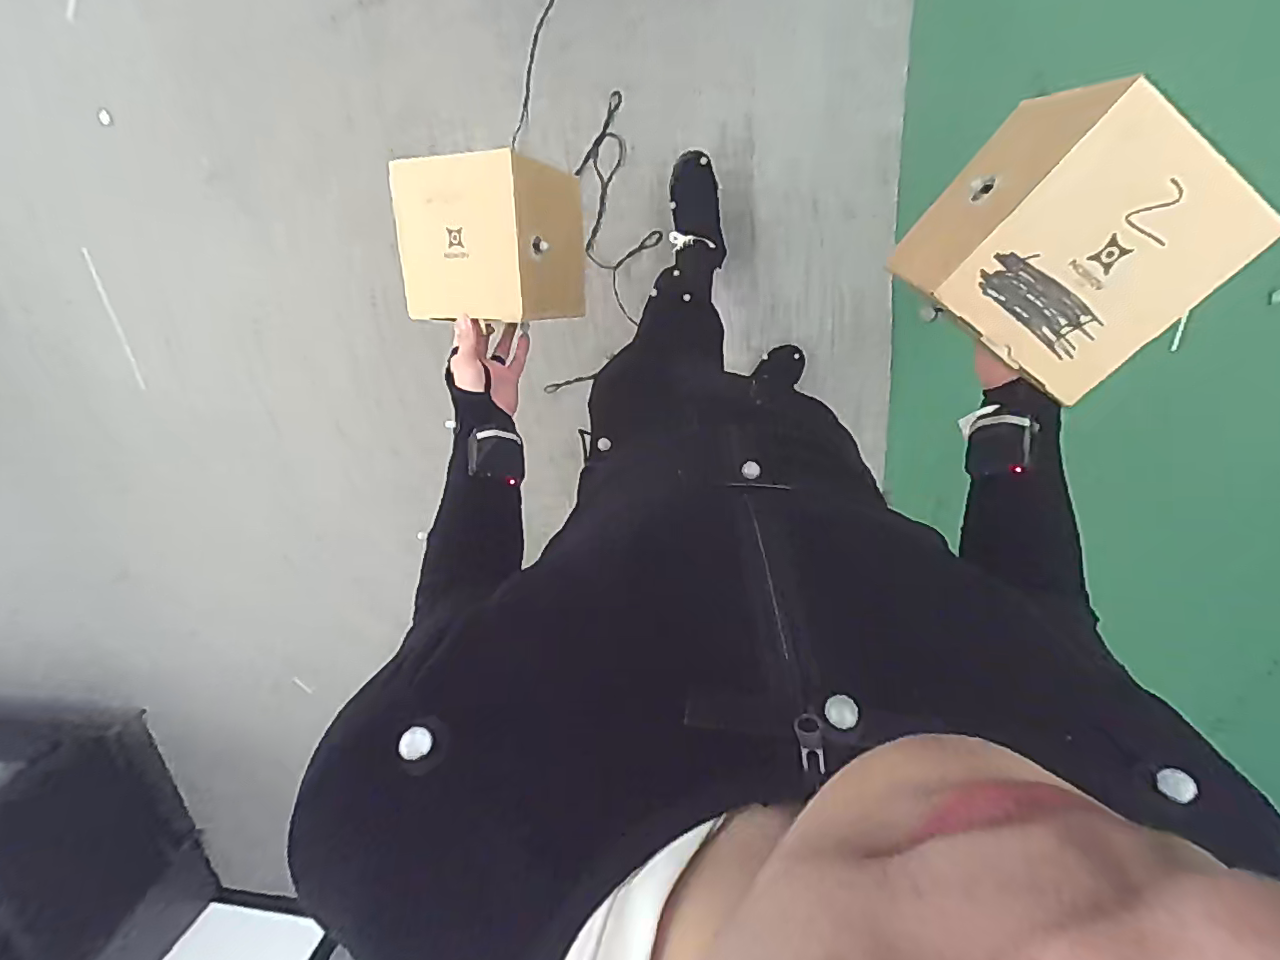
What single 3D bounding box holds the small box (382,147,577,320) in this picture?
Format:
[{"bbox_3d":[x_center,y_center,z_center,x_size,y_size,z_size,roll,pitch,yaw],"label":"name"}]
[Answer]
[{"bbox_3d":[-0.189,-0.300,0.685,0.168,0.176,0.179,7,110,19],"label":"small box"}]
